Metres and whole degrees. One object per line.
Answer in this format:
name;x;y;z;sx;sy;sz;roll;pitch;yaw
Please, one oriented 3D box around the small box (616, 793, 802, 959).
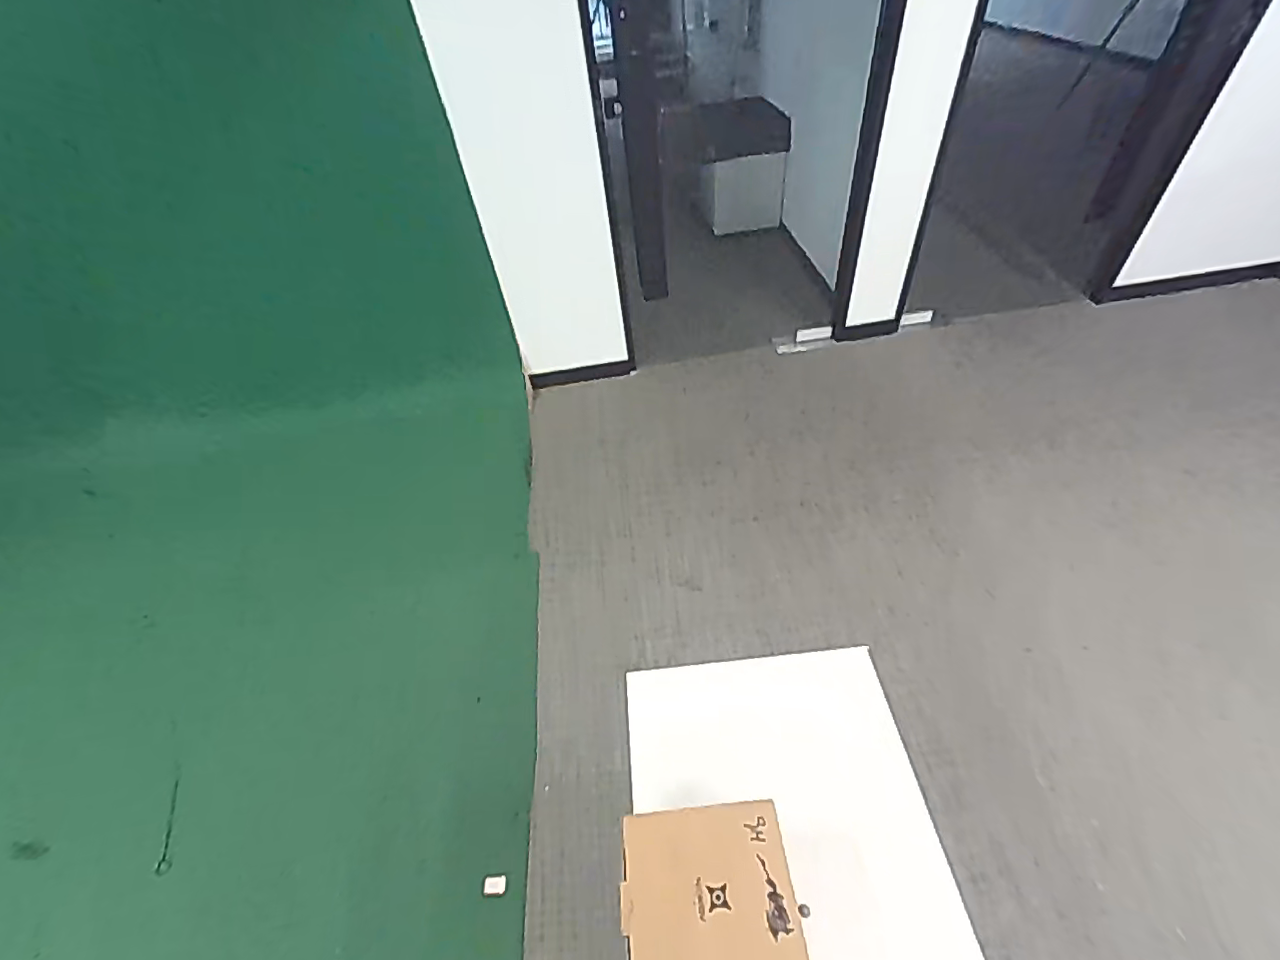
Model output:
small box;0.072;0.478;0.615;0.179;0.176;0.168;-6;46;0
